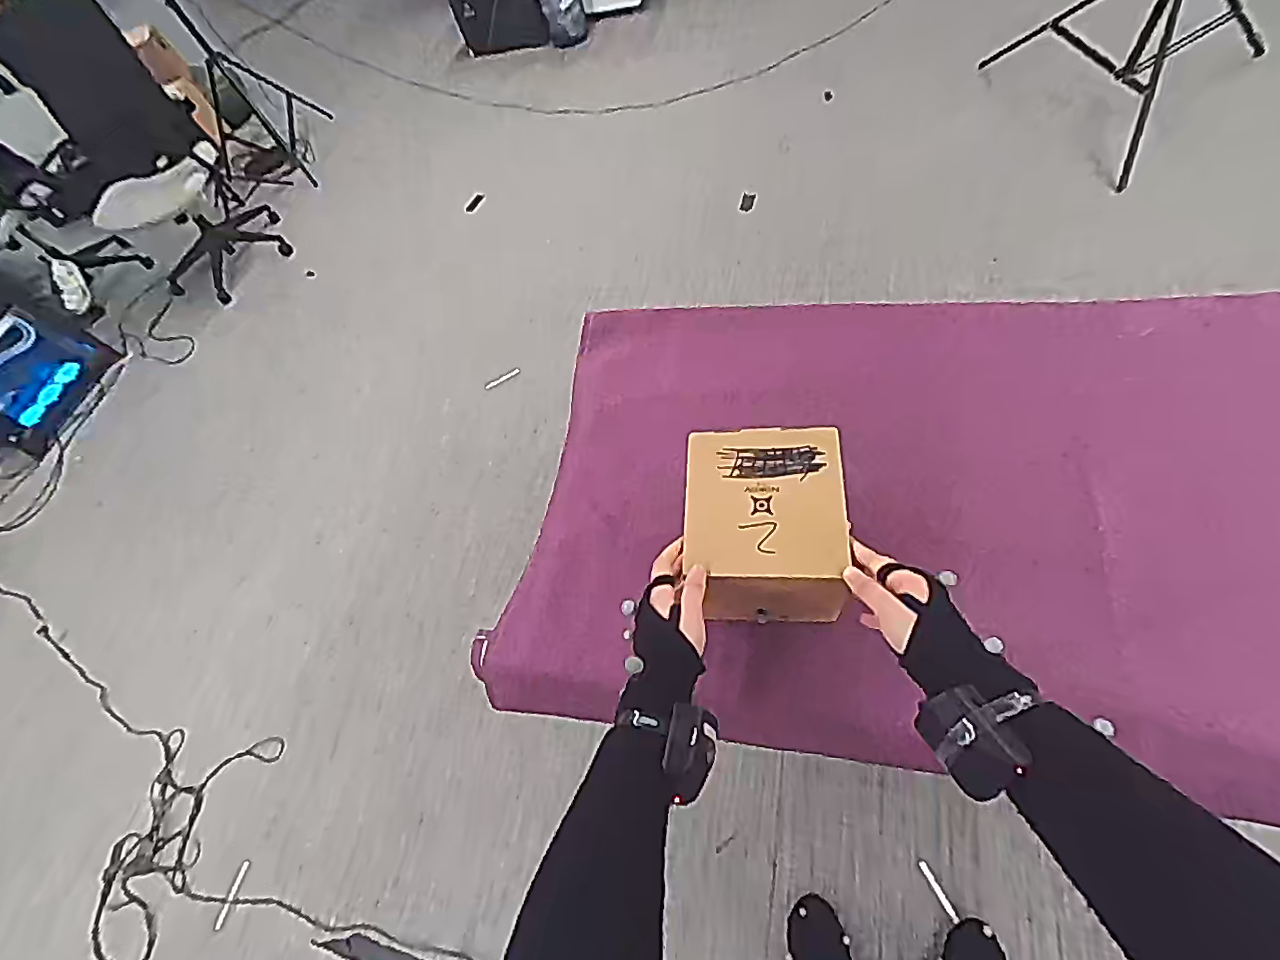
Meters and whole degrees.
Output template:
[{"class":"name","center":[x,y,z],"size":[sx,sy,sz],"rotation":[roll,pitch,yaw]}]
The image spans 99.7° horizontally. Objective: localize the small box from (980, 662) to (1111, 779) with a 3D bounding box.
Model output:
[{"class":"small box","center":[0.811,0.491,1.099],"size":[0.168,0.176,0.179],"rotation":[8,63,18]}]
